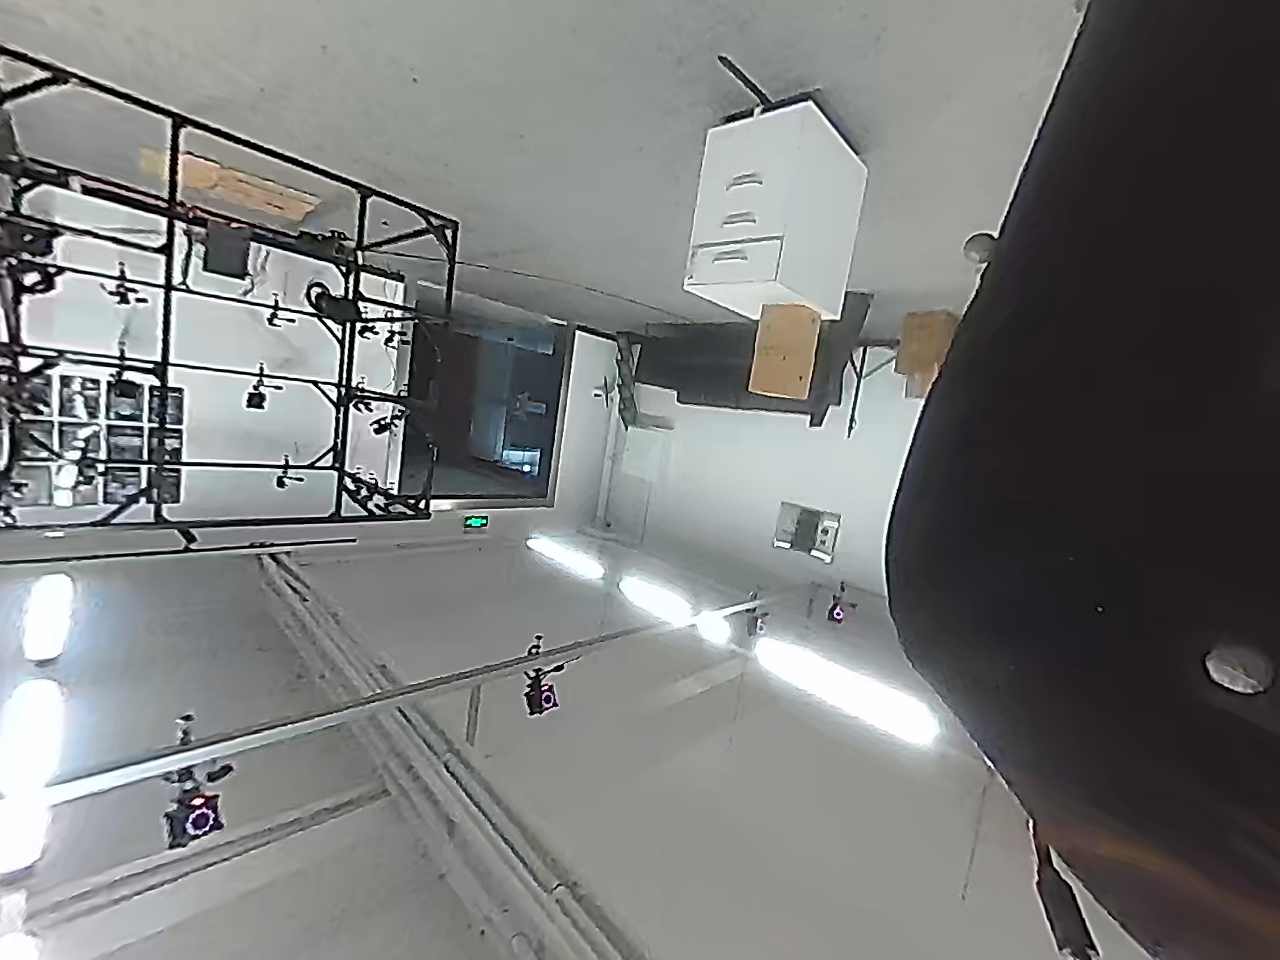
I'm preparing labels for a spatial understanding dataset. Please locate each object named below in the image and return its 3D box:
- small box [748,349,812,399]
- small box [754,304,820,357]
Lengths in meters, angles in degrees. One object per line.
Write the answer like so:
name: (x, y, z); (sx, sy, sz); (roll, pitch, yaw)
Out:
small box: (0.546, -0.414, 2.105); (0.179, 0.176, 0.168); (-1, -166, -45)
small box: (0.566, -0.575, 2.078); (0.179, 0.176, 0.168); (16, -170, 40)
